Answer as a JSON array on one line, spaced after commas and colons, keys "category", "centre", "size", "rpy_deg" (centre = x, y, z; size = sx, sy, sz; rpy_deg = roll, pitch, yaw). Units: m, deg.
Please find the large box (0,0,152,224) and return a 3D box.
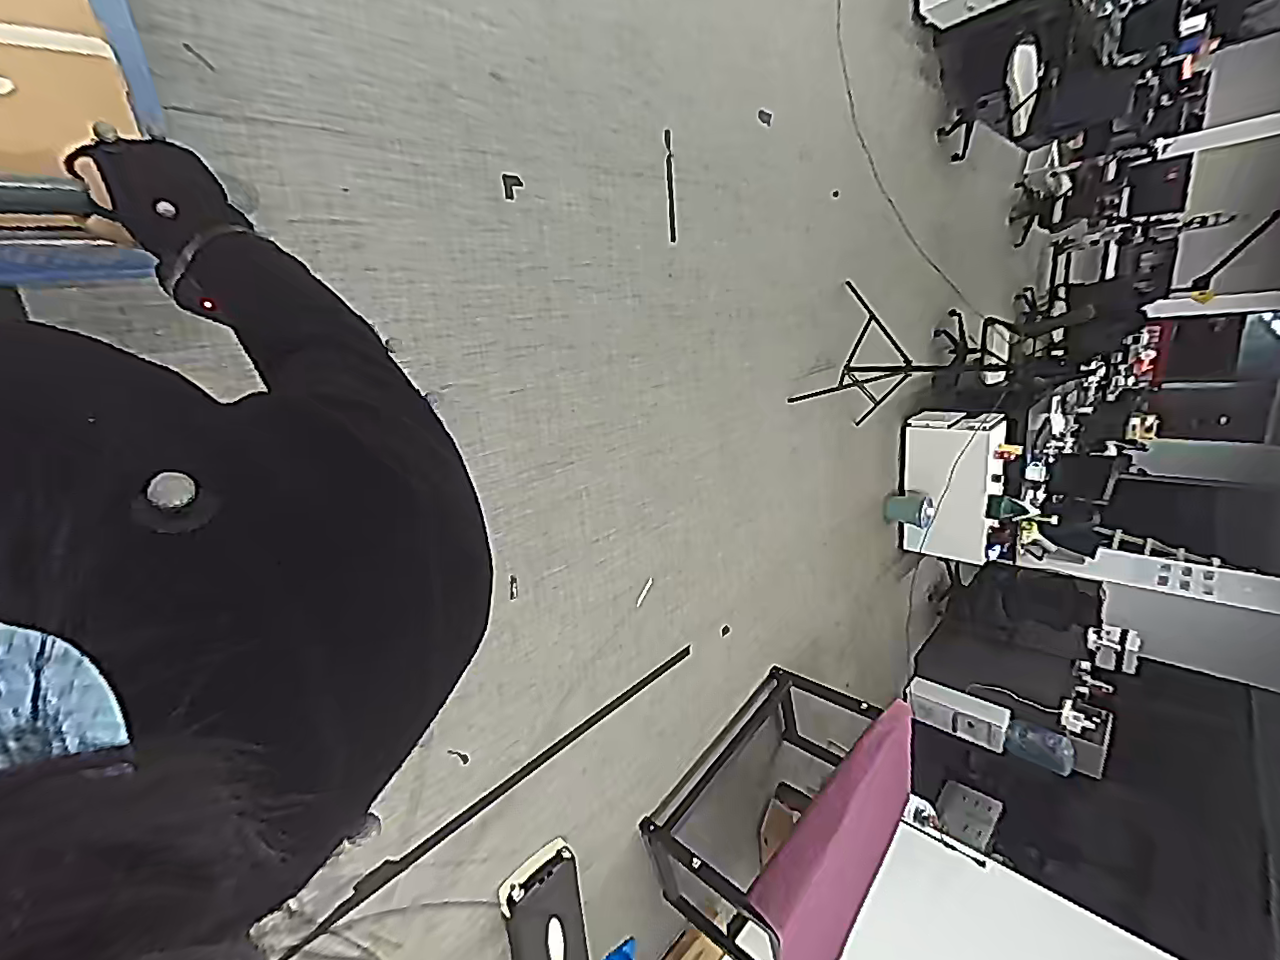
[{"category": "large box", "centre": [-0.956, -0.522, 0.694], "size": [0.408, 0.320, 0.320], "rpy_deg": [-25, 116, -41]}]
